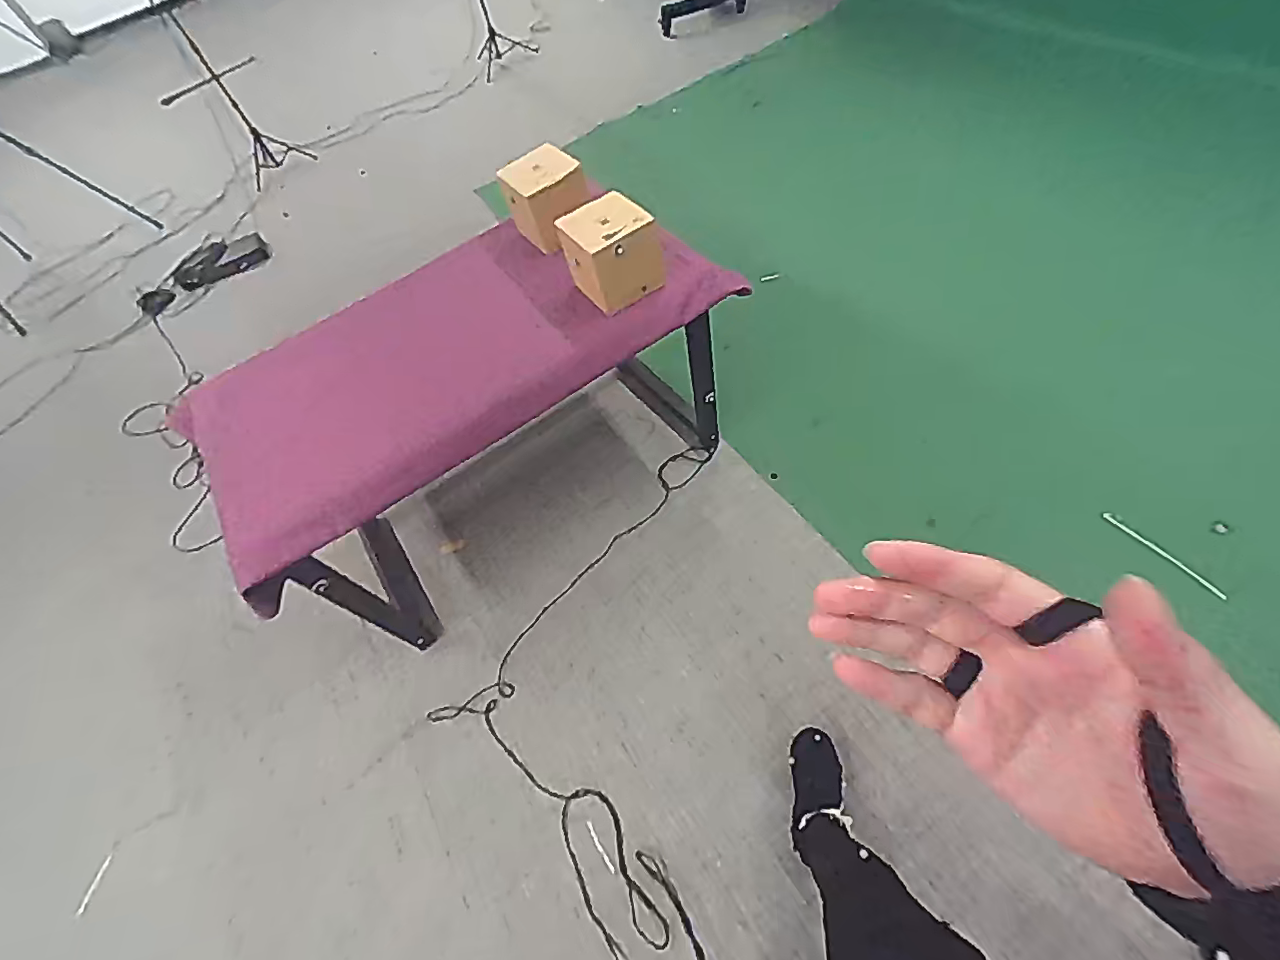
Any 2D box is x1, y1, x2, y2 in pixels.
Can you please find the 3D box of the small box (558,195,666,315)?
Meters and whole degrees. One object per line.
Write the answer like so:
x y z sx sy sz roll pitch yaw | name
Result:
-0.059 -0.514 1.244 0.168 0.176 0.179 -33 55 -9 | small box

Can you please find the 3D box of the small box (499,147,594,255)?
-0.233 -0.724 1.411 0.168 0.176 0.179 -36 59 -9 | small box
